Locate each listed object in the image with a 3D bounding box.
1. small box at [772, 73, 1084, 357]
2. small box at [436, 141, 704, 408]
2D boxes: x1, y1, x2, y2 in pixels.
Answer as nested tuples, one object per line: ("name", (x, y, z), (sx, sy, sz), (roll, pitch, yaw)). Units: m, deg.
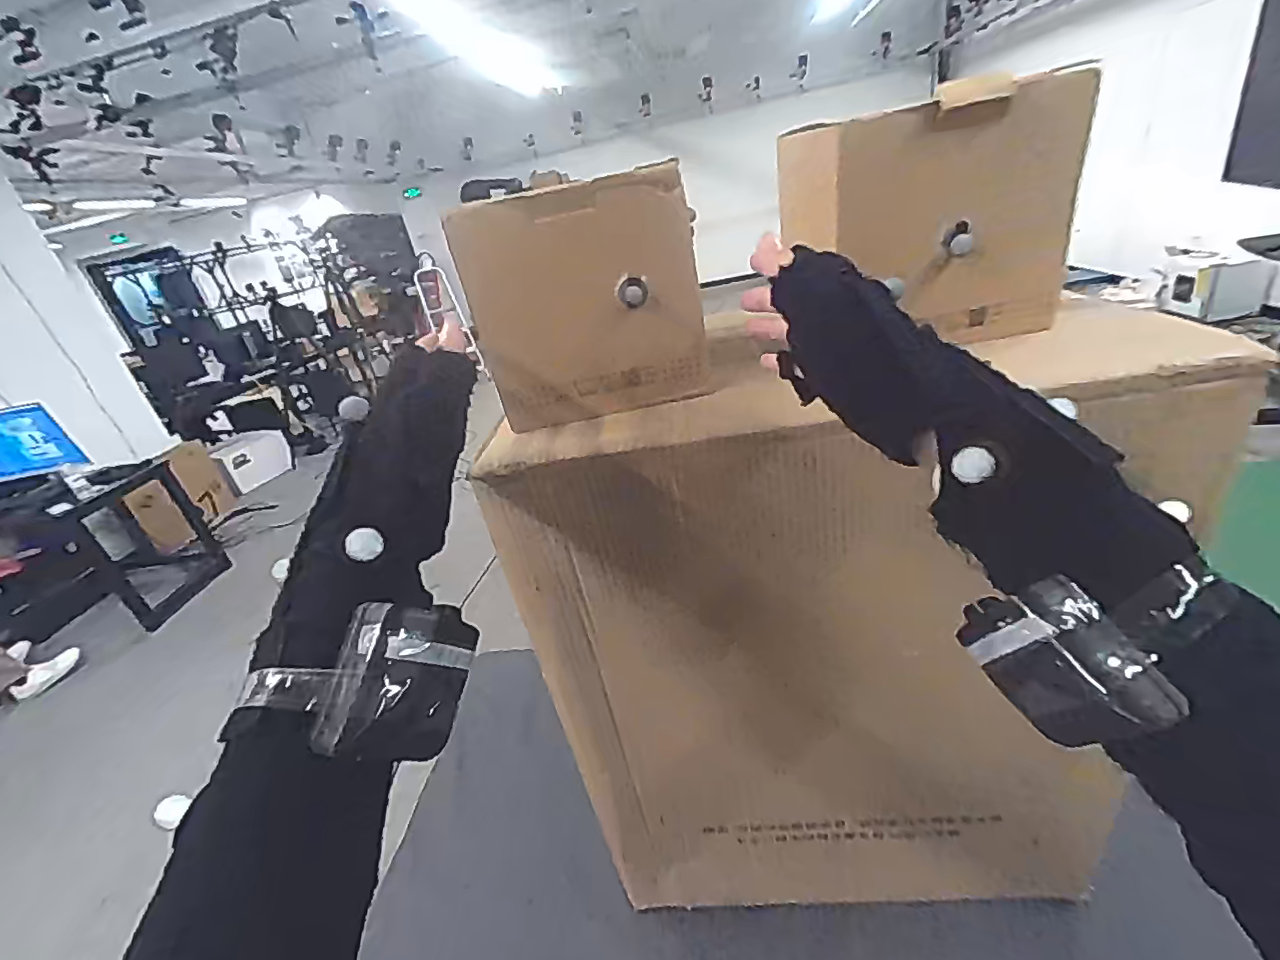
("small box", (0.216, -0.213, 0.457), (0.168, 0.176, 0.179), (-9, 30, 5))
("small box", (-0.048, -0.174, 0.466), (0.168, 0.176, 0.179), (-13, 30, 1))
